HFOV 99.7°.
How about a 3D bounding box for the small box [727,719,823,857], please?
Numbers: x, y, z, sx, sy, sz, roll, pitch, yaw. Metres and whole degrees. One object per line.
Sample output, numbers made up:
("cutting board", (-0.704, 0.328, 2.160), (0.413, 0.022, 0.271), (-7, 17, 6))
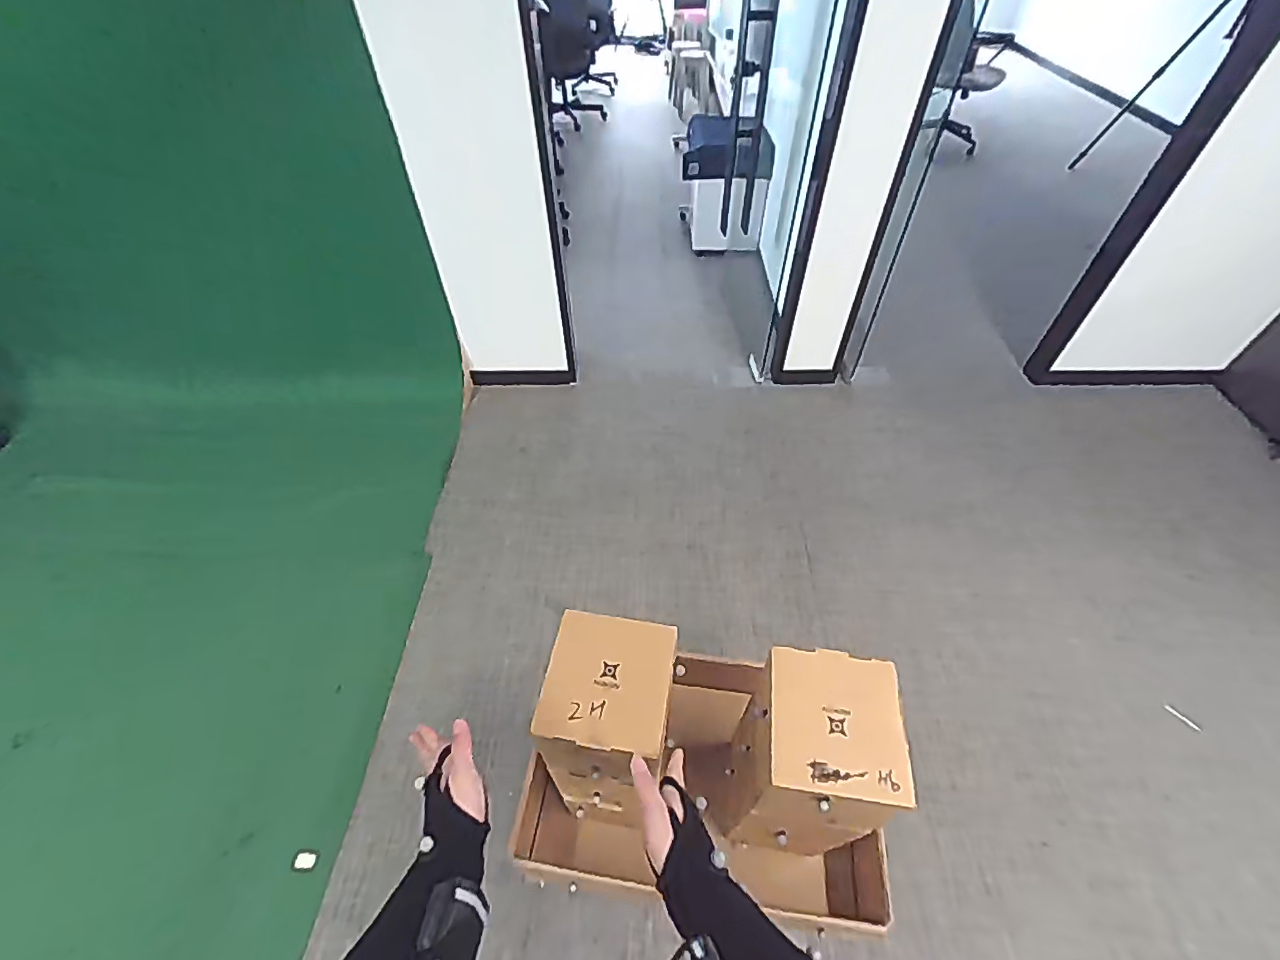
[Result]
("small box", (0.254, 0.566, 0.987), (0.168, 0.176, 0.179), (8, 49, 7))

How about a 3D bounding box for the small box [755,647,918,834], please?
("small box", (0.252, 0.355, 0.737), (0.168, 0.176, 0.179), (6, 49, 7))

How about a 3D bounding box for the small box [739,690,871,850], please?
("small box", (0.252, 0.463, 0.861), (0.168, 0.176, 0.179), (7, 50, 7))

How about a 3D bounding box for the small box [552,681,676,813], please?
("small box", (-0.037, 0.426, 0.898), (0.168, 0.176, 0.179), (7, 50, 7))

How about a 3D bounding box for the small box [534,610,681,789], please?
("small box", (-0.038, 0.315, 0.776), (0.168, 0.176, 0.179), (8, 50, 8))
